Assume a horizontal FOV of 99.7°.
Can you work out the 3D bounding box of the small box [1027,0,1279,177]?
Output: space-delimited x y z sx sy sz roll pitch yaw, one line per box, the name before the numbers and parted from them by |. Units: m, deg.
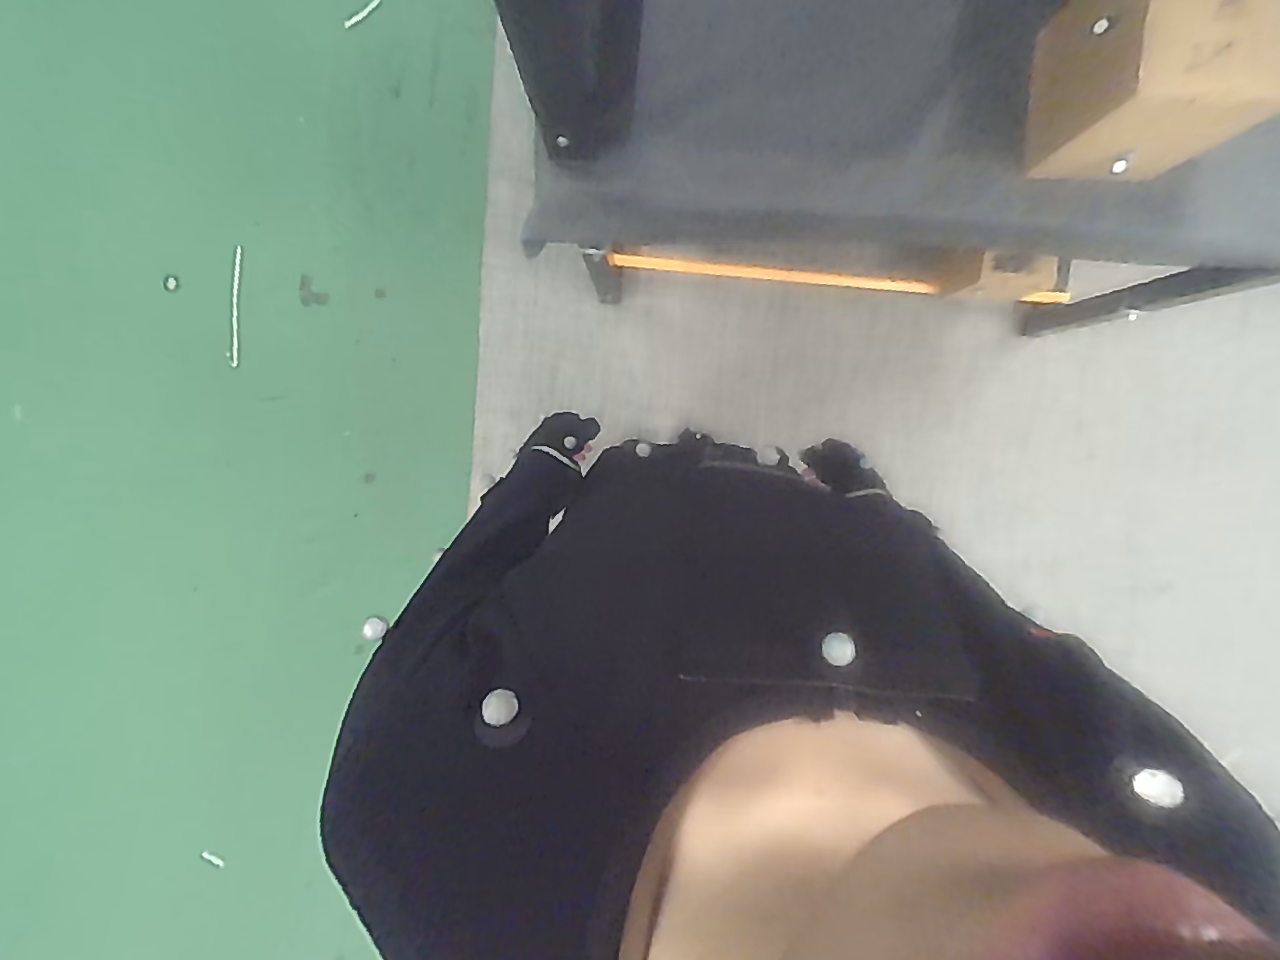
small box | 0.584 -0.481 0.618 0.168 0.176 0.179 3 95 1
